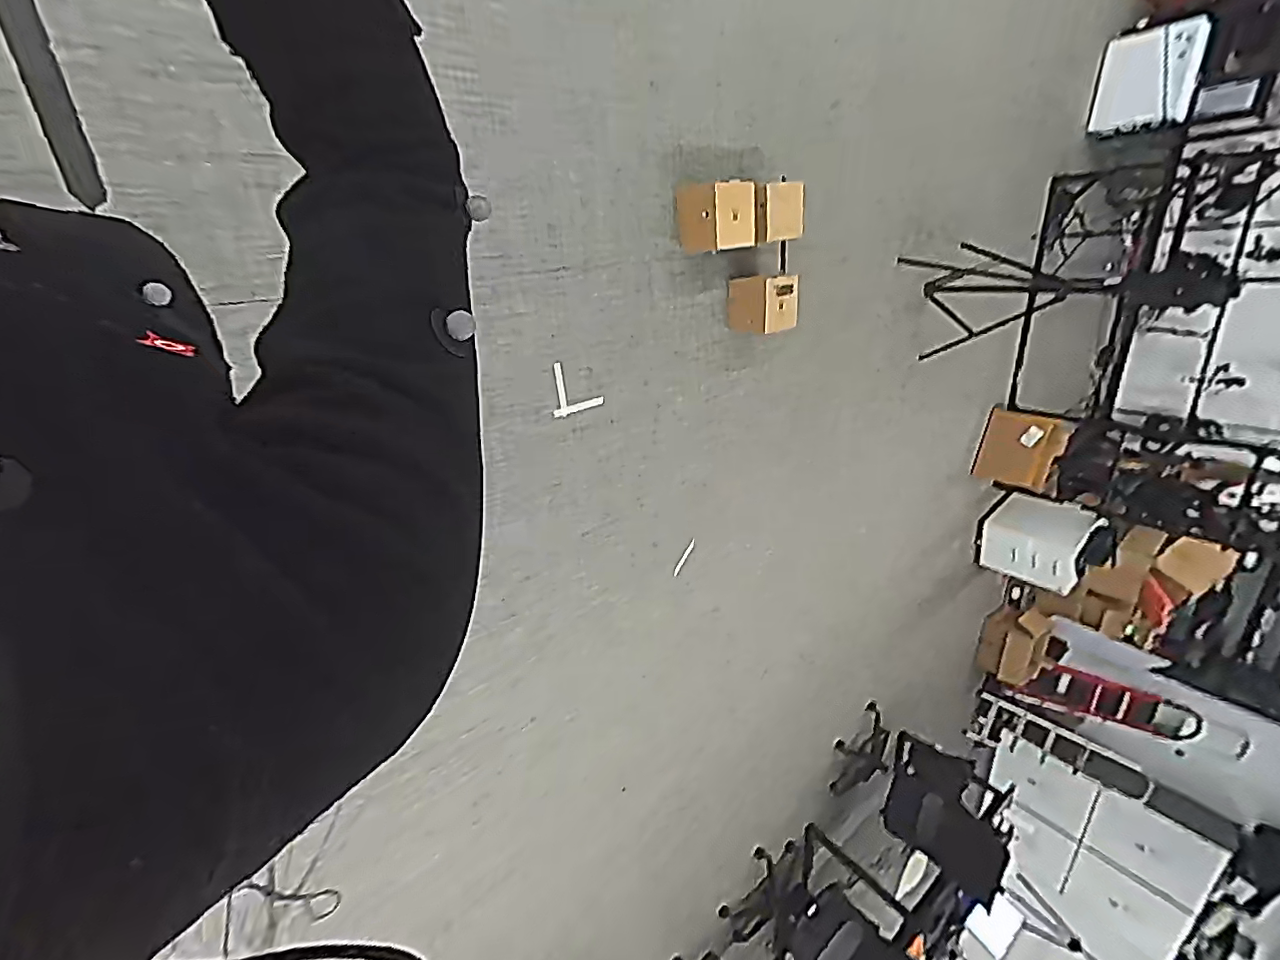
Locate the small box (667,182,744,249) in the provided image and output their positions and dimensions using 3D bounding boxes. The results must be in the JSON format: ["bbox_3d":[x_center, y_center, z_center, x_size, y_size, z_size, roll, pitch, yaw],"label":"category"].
[{"bbox_3d":[0.199,-0.808,1.659,0.168,0.176,0.179,-21,118,-33],"label":"small box"}]
